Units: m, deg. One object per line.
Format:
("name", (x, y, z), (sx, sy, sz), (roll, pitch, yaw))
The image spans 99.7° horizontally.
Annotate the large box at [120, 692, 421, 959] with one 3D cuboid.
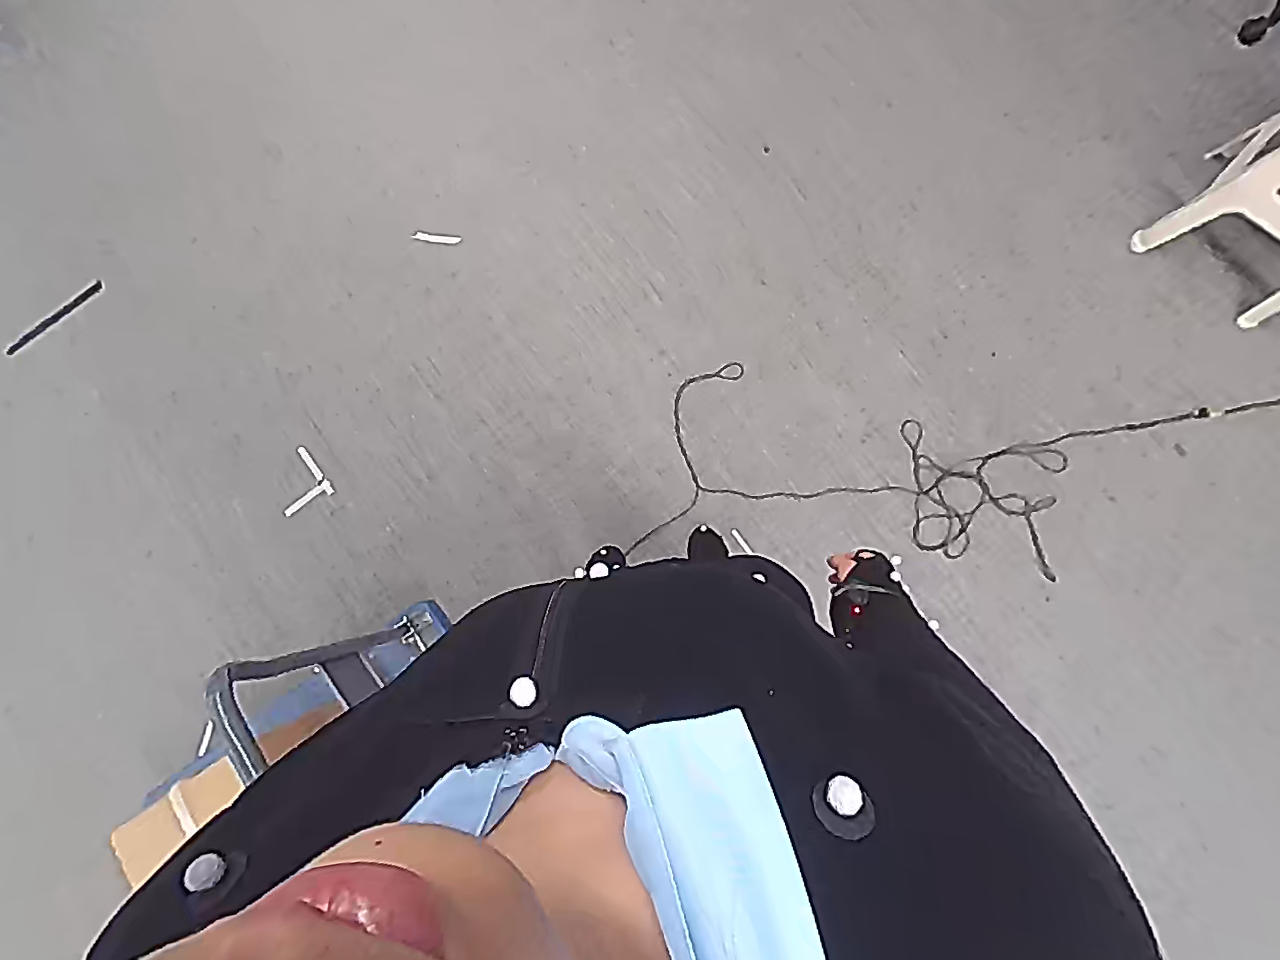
("large box", (-0.760, 0.748, 1.167), (0.320, 0.320, 0.408), (-34, 83, 0))
